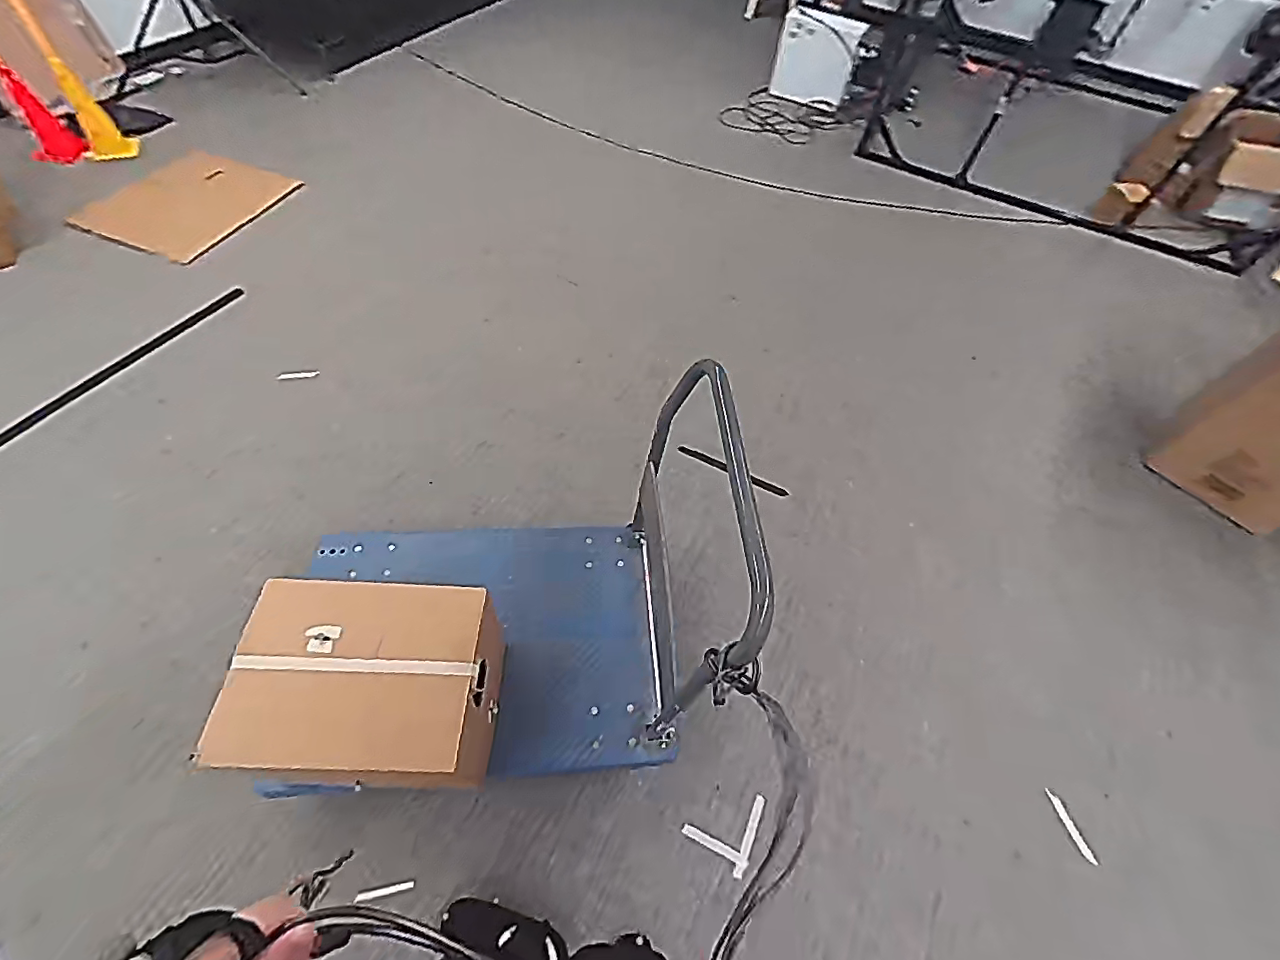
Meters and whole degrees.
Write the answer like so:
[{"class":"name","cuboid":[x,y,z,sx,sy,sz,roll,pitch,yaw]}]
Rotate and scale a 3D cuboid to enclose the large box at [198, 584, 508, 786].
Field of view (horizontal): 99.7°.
[{"class":"large box","cuboid":[-0.491,0.407,1.045,0.408,0.320,0.320,3,55,-3]}]
